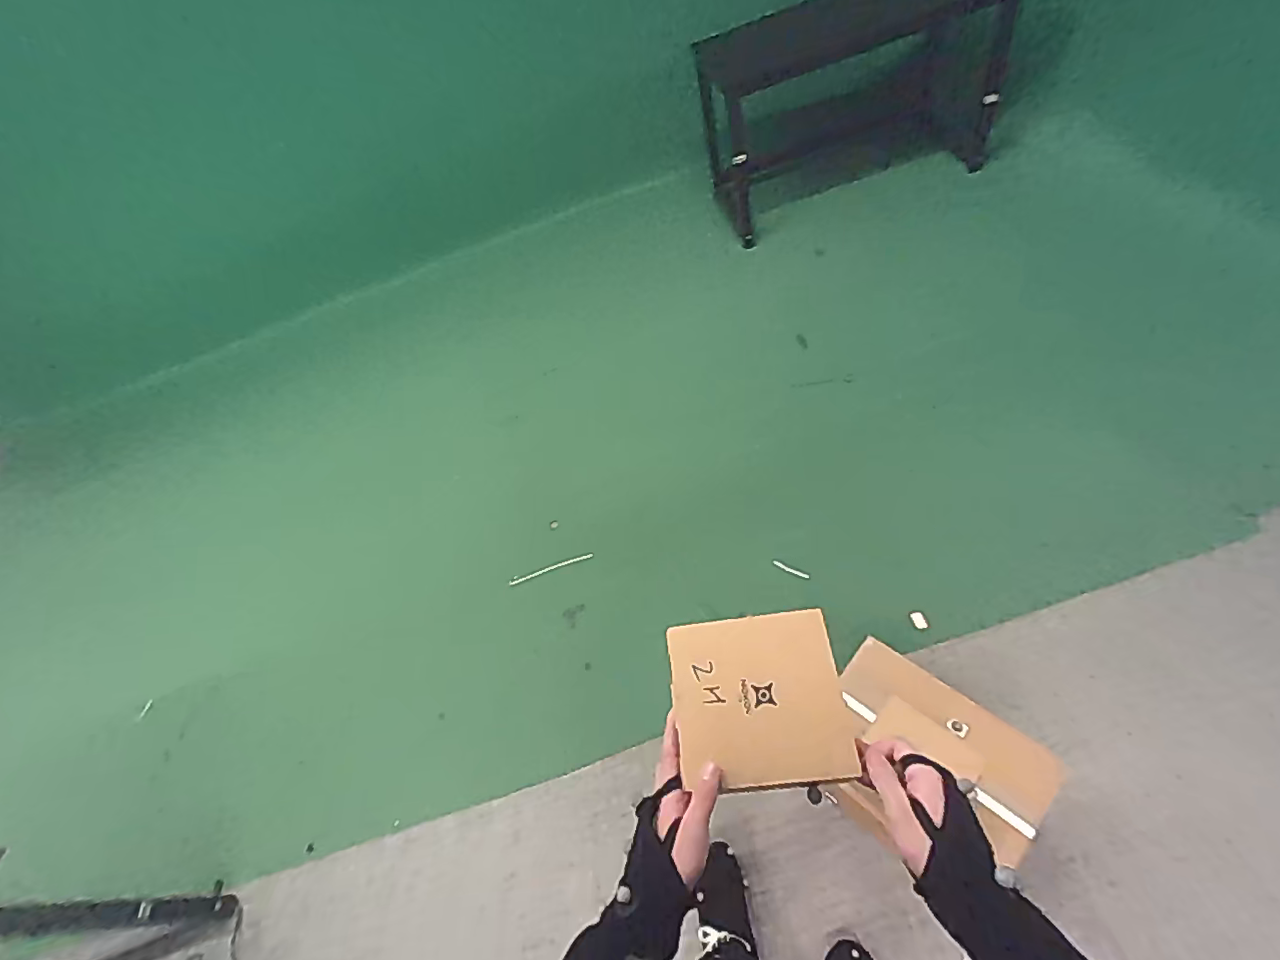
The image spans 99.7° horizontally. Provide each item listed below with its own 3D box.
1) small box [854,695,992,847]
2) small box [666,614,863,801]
[{"bbox_3d":[0.499,0.534,0.994,0.179,0.176,0.168,33,70,34],"label":"small box"},{"bbox_3d":[0.132,0.266,0.620,0.179,0.176,0.168,-10,58,7],"label":"small box"}]
